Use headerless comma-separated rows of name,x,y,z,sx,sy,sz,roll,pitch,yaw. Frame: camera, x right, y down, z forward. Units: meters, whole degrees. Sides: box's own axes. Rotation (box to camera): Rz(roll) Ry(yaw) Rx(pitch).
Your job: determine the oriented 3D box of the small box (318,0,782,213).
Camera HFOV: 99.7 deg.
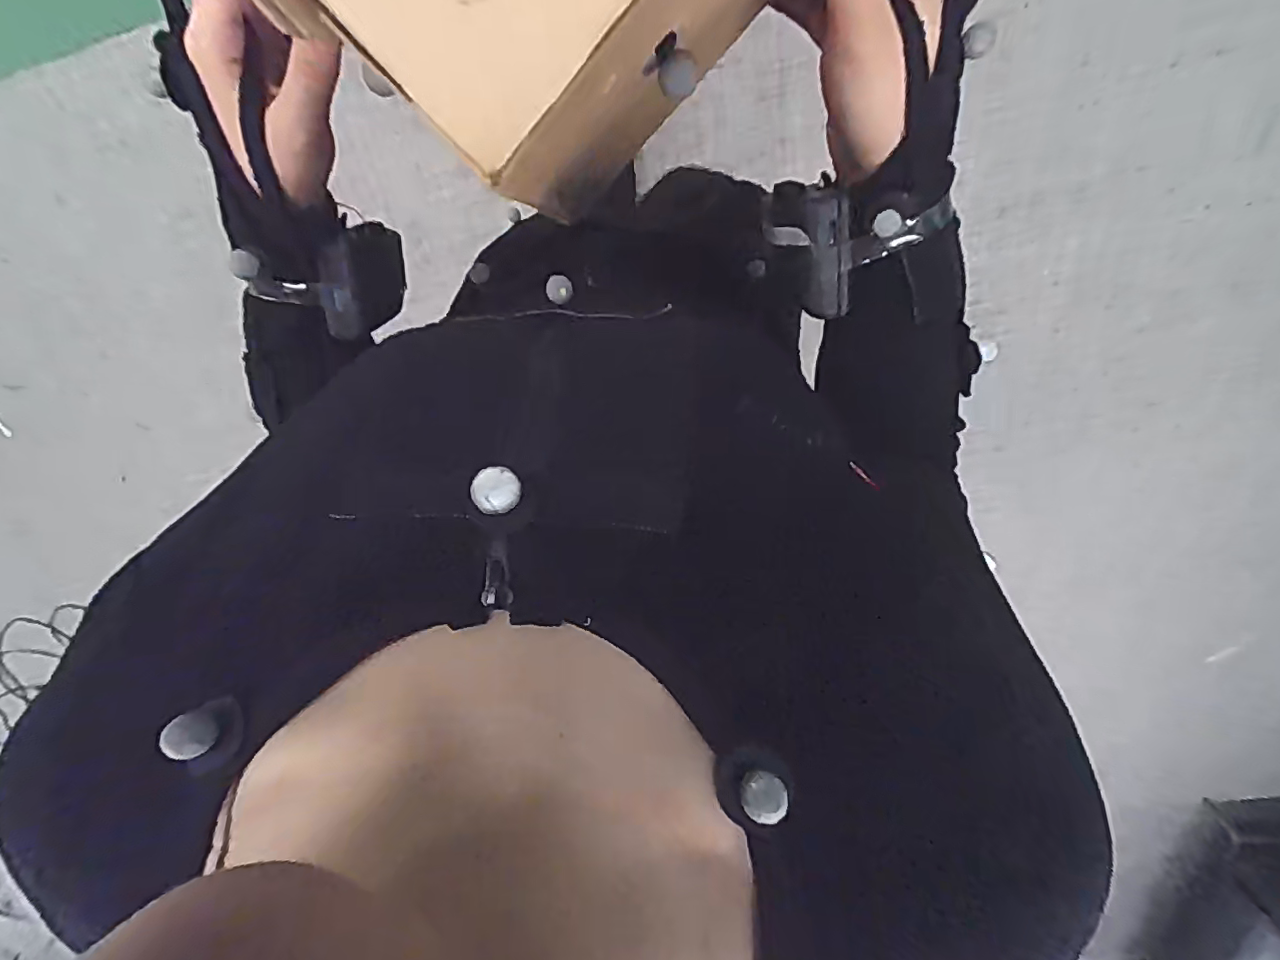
small box,-0.033,-0.227,0.200,0.179,0.176,0.168,-42,105,16
